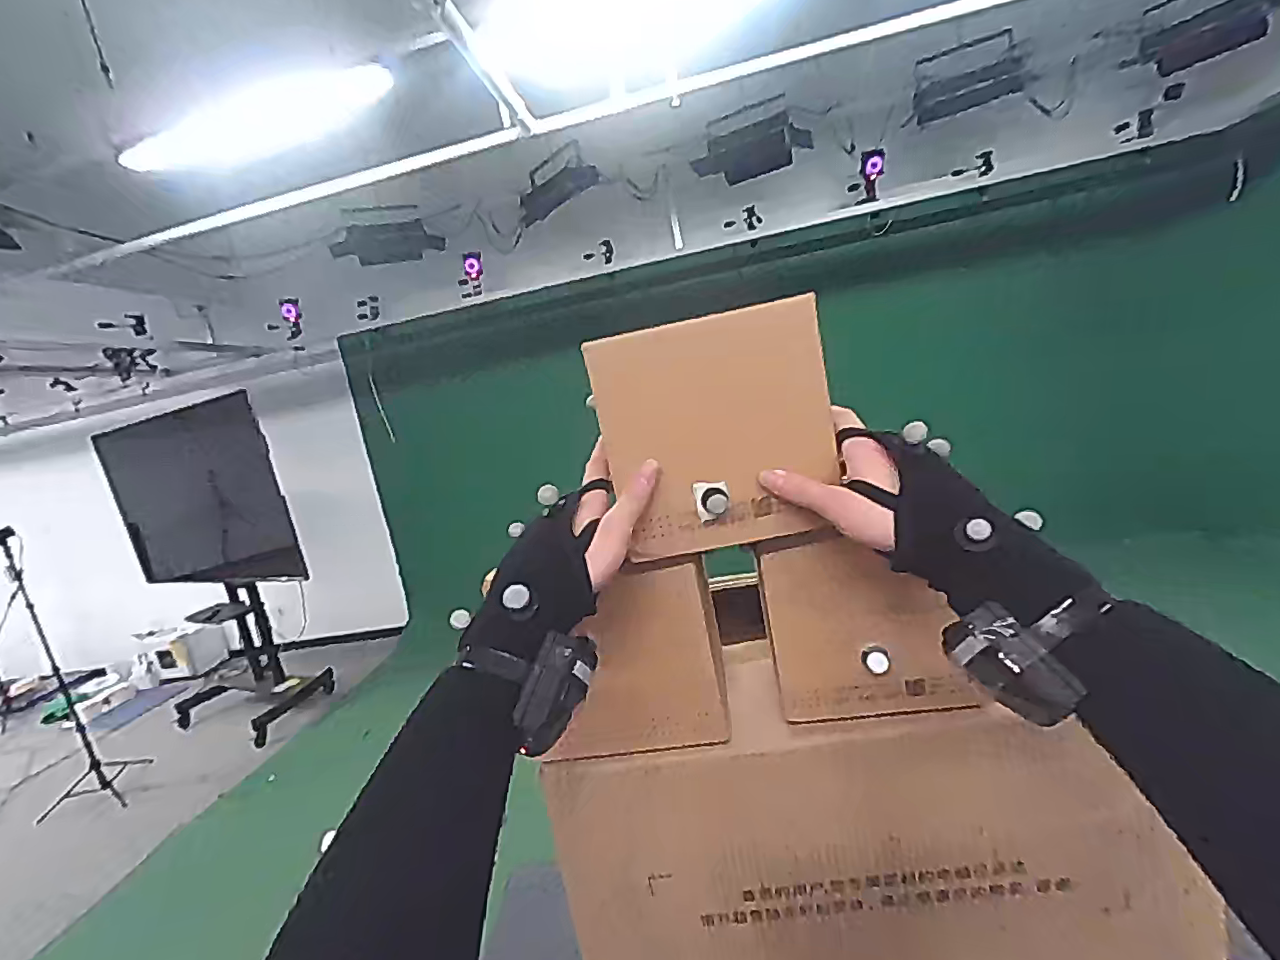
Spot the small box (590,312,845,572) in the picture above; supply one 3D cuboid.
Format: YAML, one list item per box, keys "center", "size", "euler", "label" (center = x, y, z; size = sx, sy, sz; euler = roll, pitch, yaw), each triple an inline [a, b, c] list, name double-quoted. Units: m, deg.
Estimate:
- center: [0.060, -0.035, 0.467]
  size: [0.168, 0.176, 0.179]
  euler: [-11, 10, 1]
  label: "small box"

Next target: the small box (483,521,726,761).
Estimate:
- center: [-0.021, 0.141, 0.516]
  size: [0.179, 0.176, 0.168]
  euler: [-9, 10, 7]
  label: "small box"

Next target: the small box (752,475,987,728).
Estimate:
- center: [0.193, 0.101, 0.502]
  size: [0.168, 0.176, 0.179]
  euler: [-9, 10, 9]
  label: "small box"
